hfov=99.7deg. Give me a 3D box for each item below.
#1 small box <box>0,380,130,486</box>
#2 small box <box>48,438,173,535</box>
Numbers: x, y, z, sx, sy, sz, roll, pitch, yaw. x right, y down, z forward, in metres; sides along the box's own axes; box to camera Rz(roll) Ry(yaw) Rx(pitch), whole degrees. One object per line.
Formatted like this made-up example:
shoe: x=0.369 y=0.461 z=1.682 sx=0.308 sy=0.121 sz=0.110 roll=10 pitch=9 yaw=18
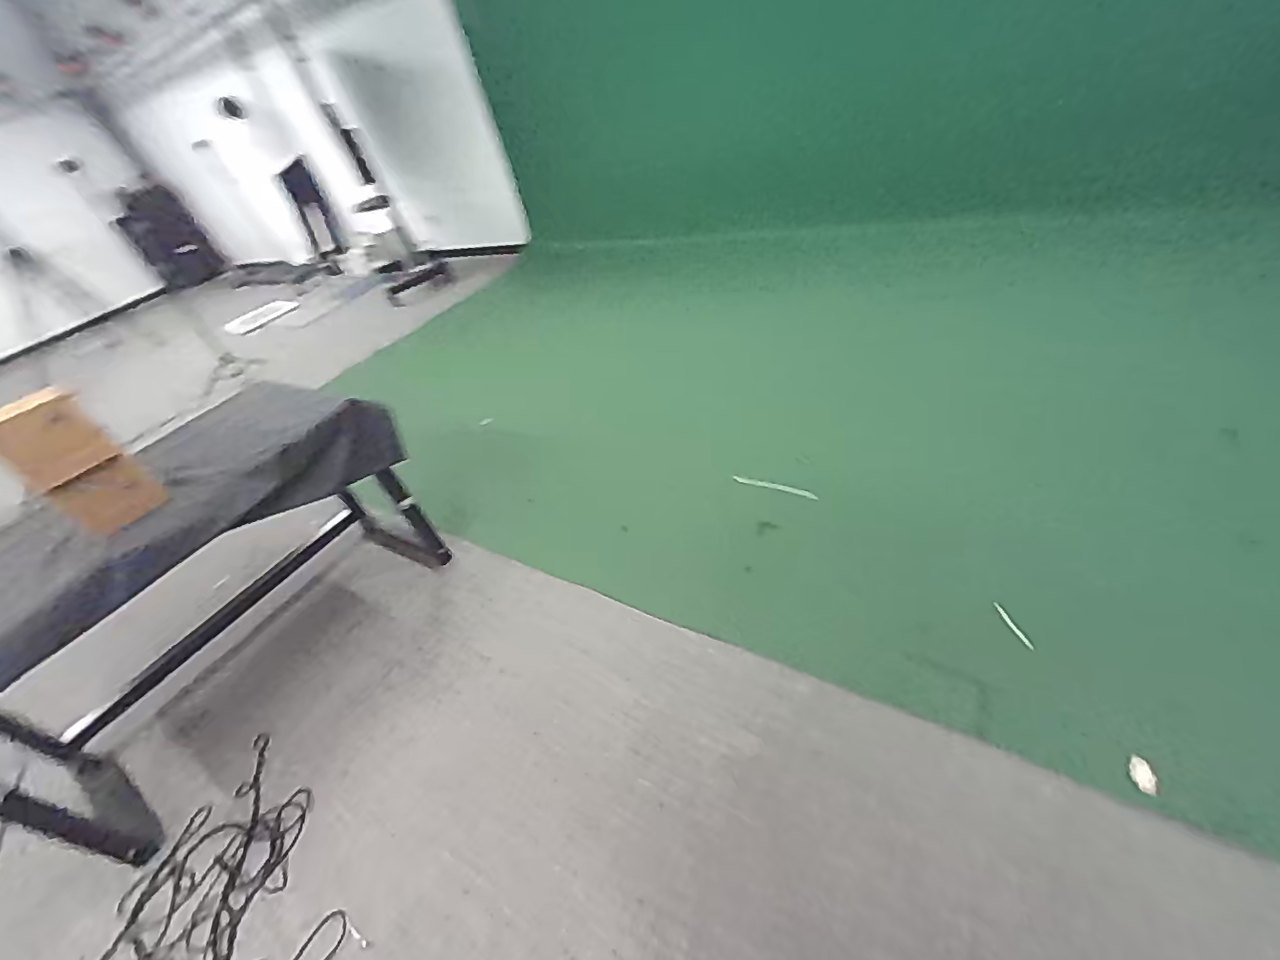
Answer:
small box: x=-1.373 y=-0.111 z=1.277 sx=0.168 sy=0.176 sz=0.179 roll=22 pitch=52 yaw=40
small box: x=-1.351 y=0.007 z=1.388 sx=0.168 sy=0.176 sz=0.179 roll=20 pitch=52 yaw=39
